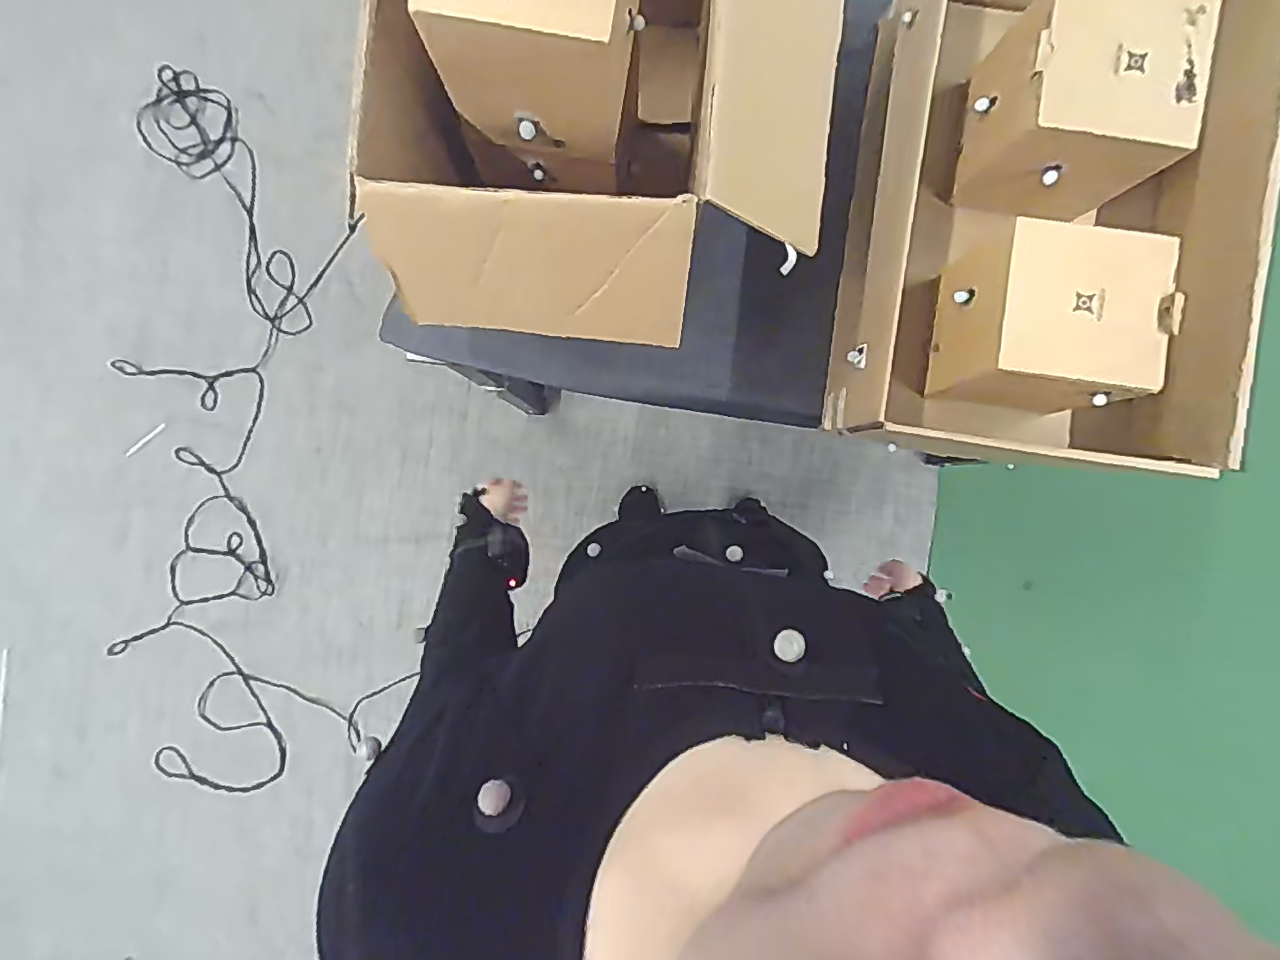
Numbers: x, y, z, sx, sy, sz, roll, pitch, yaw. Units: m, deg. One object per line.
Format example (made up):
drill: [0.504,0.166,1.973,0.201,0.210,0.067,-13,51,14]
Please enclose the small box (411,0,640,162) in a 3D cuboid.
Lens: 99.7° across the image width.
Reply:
small box: [-0.091,-0.446,0.513,0.168,0.176,0.179,10,92,-1]
